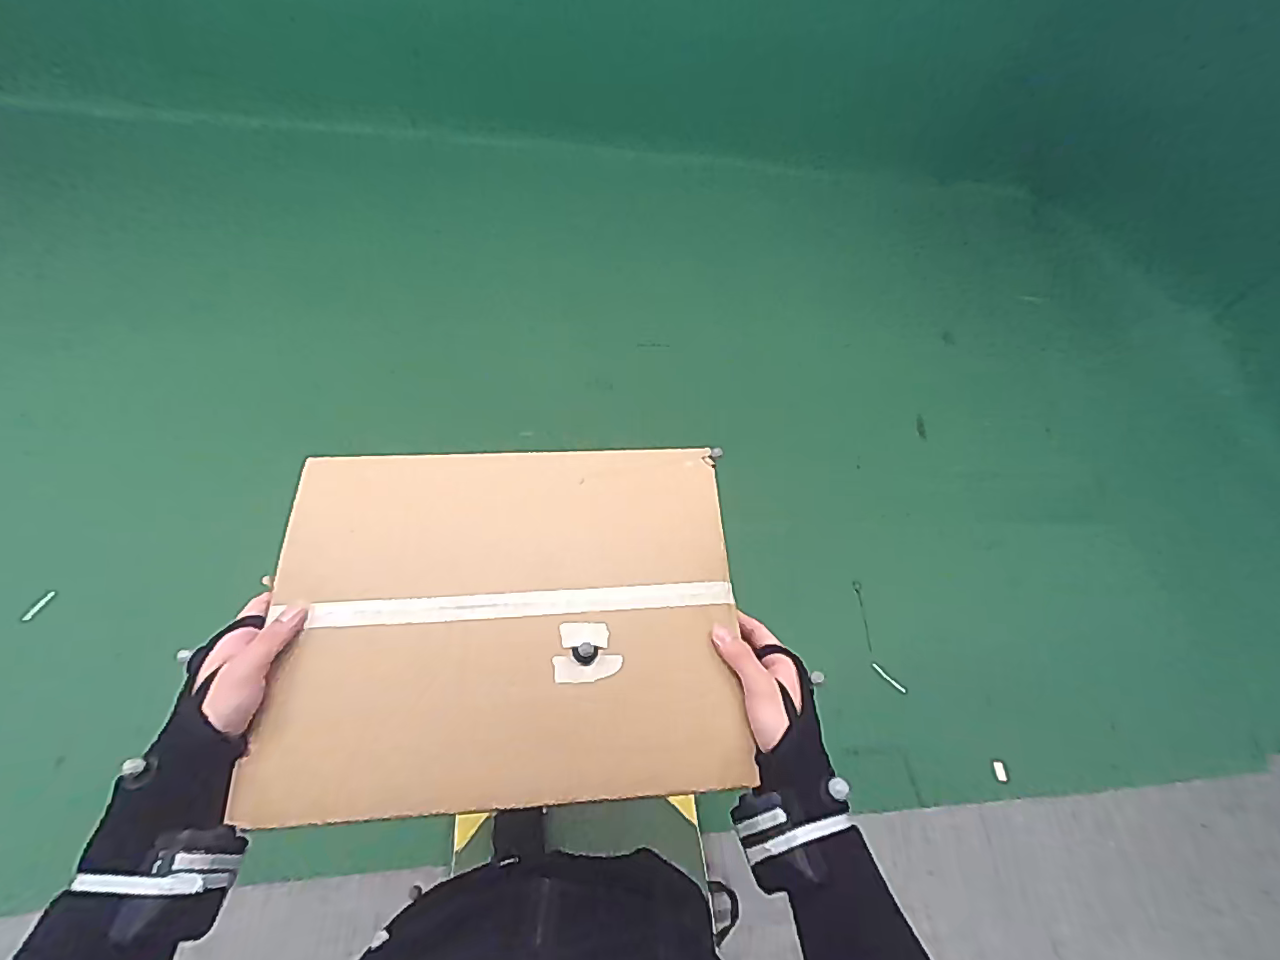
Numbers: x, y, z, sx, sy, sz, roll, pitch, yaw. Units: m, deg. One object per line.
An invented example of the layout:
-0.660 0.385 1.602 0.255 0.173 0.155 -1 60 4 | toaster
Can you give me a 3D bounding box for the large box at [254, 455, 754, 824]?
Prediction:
-0.125 0.185 0.630 0.408 0.320 0.320 -2 63 -6 | large box
